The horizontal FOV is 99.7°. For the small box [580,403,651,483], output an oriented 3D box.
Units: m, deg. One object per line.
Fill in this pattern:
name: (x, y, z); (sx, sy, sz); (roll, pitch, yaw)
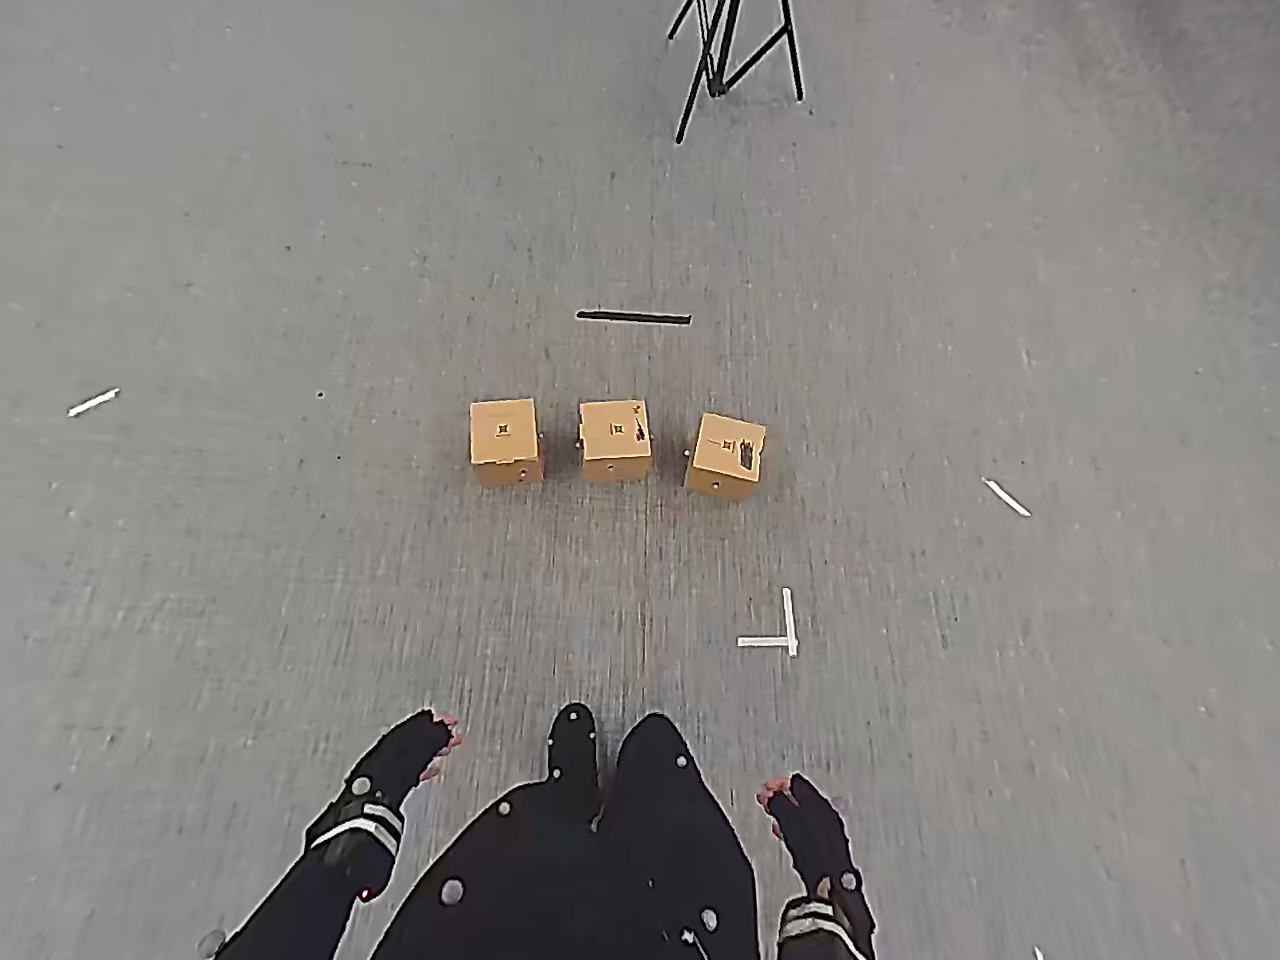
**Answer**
small box: (-0.068, -0.096, 1.478); (0.179, 0.176, 0.168); (-4, 70, -6)

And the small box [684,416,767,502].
small box: (0.232, -0.050, 1.488); (0.179, 0.176, 0.168); (13, 68, 1)

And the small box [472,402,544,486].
small box: (-0.351, -0.090, 1.452); (0.168, 0.176, 0.179); (-5, 69, -8)
